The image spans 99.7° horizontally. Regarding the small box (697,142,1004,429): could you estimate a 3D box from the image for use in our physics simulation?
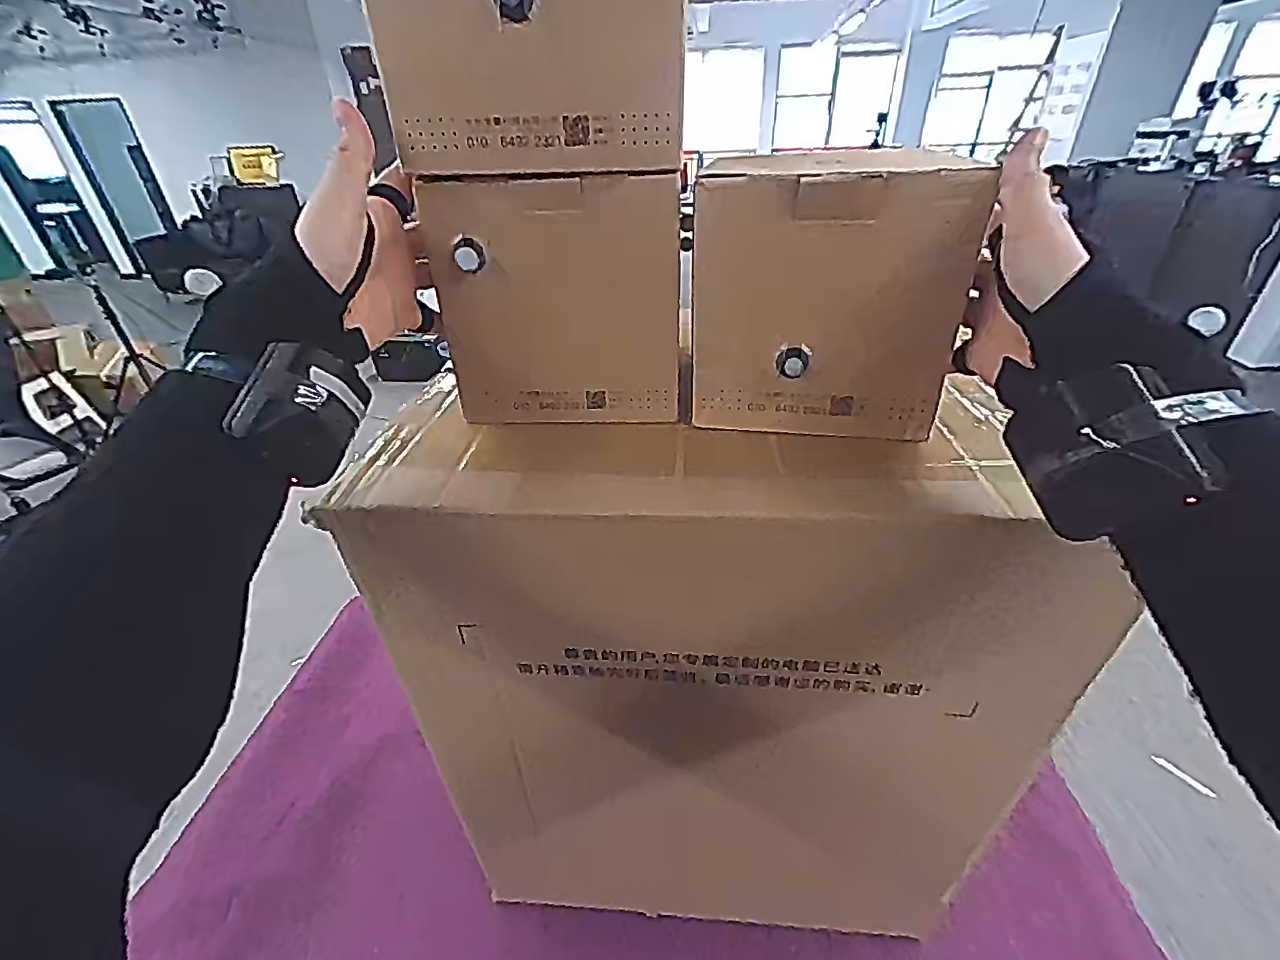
[{"bbox_3d":[0.134,-0.155,0.413,0.168,0.176,0.179,4,34,11],"label":"small box"}]

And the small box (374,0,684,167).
[{"bbox_3d":[-0.059,-0.299,0.342,0.168,0.176,0.179,-1,32,-1],"label":"small box"}]
